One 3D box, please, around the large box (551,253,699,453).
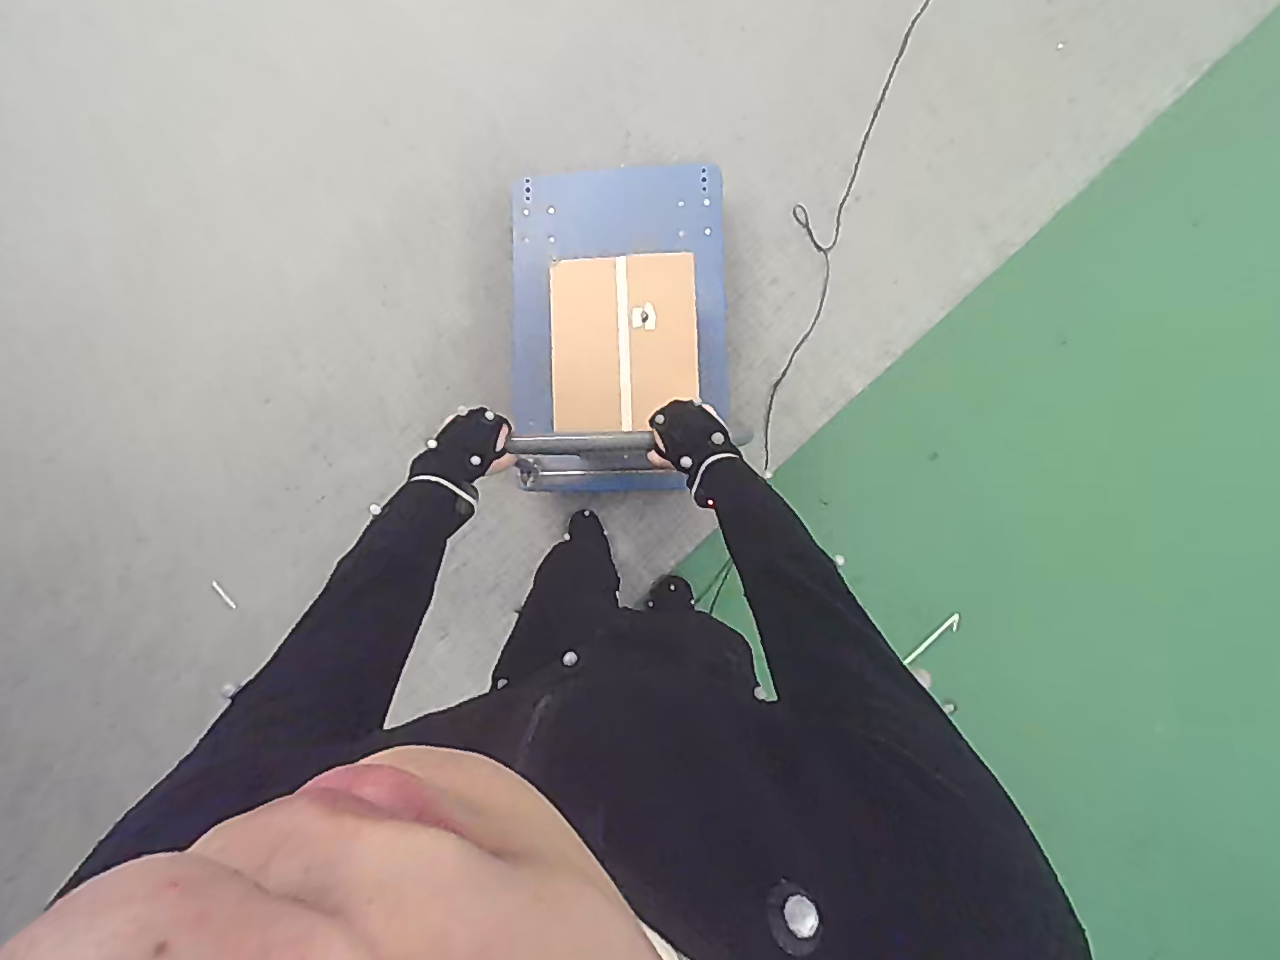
[{"bbox_3d":[-0.027,-0.282,1.320,0.320,0.320,0.408,-2,88,3],"label":"large box"}]
